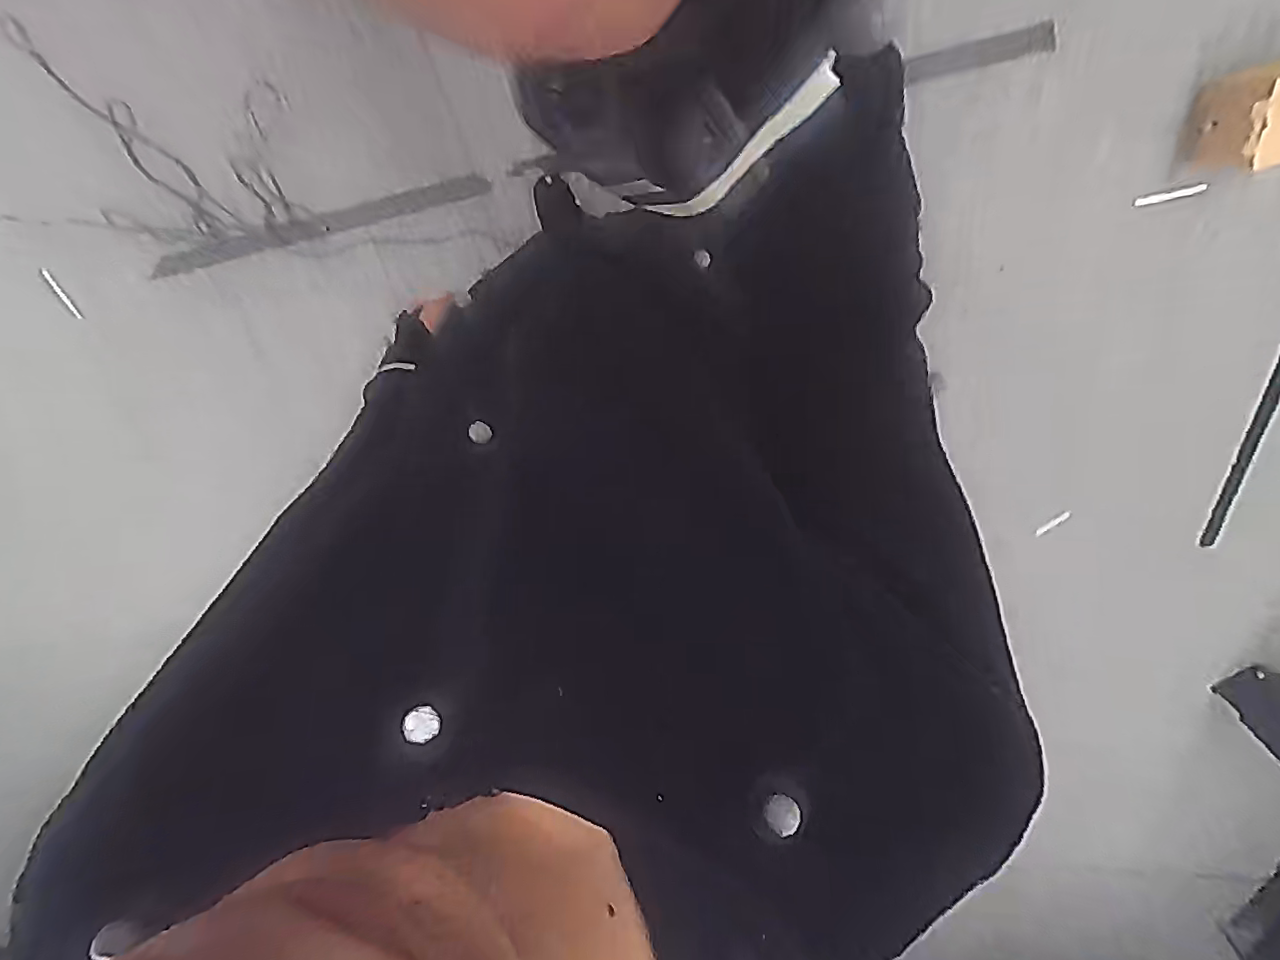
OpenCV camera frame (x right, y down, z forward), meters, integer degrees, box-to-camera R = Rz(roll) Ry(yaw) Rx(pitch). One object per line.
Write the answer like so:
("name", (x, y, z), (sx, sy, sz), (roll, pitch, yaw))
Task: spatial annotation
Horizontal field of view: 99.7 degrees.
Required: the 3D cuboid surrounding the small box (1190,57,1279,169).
("small box", (1.329, -0.774, 1.127), (0.179, 0.176, 0.168), (-12, 123, 12))
